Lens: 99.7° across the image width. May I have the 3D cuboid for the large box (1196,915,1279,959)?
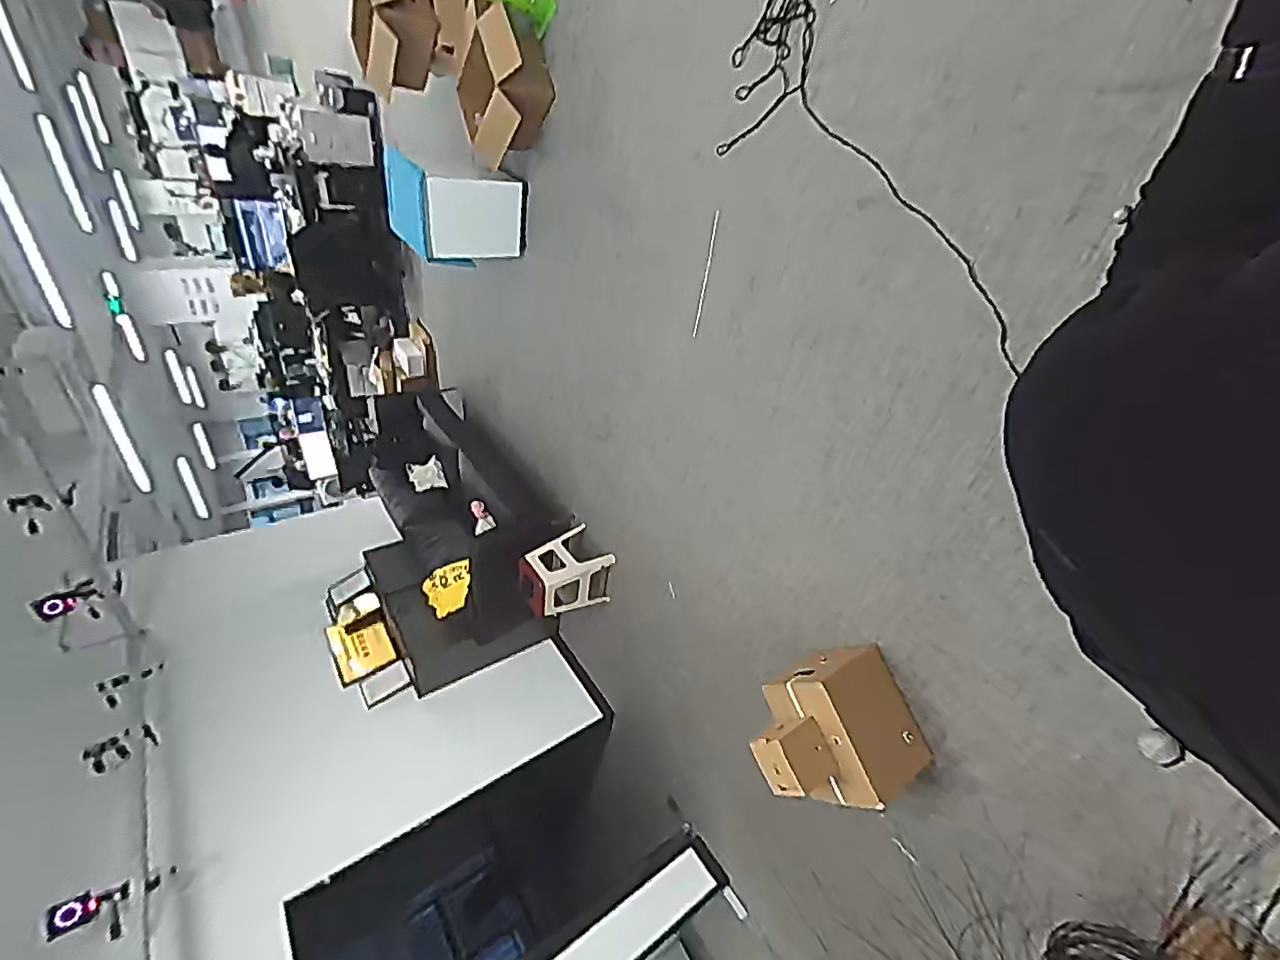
[{"bbox_3d":[1.377,1.238,1.091,0.408,0.320,0.320,27,126,46],"label":"large box"}]

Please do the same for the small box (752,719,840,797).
[{"bbox_3d":[0.506,0.896,1.755,0.179,0.176,0.168,64,148,15],"label":"small box"}]
